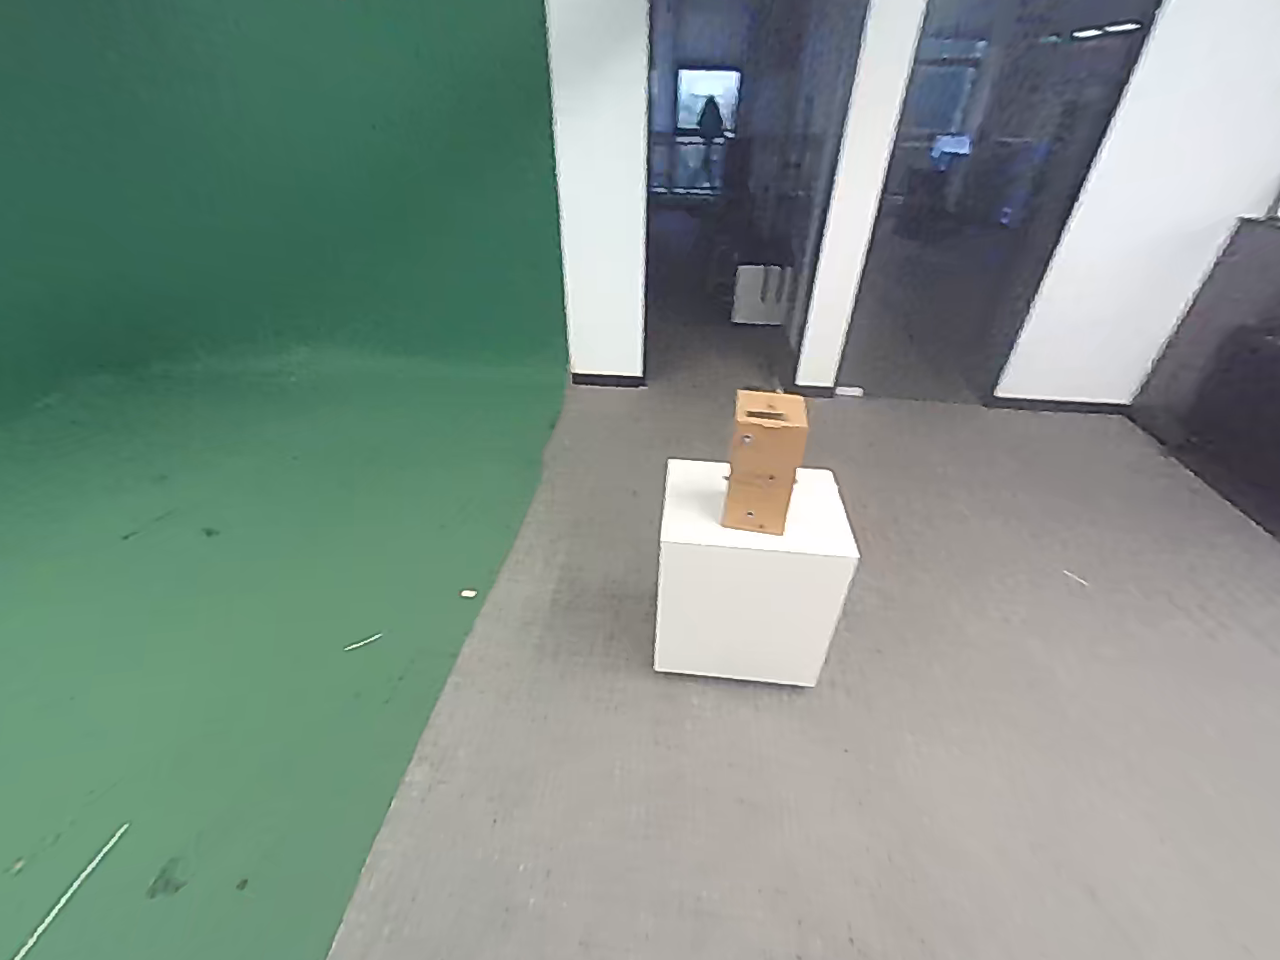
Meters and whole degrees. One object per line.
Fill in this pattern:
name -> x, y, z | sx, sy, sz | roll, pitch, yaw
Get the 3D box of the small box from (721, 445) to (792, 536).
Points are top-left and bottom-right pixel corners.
small box -> 0.314, 0.027, 1.466 | 0.168, 0.176, 0.179 | 7, 35, 9
